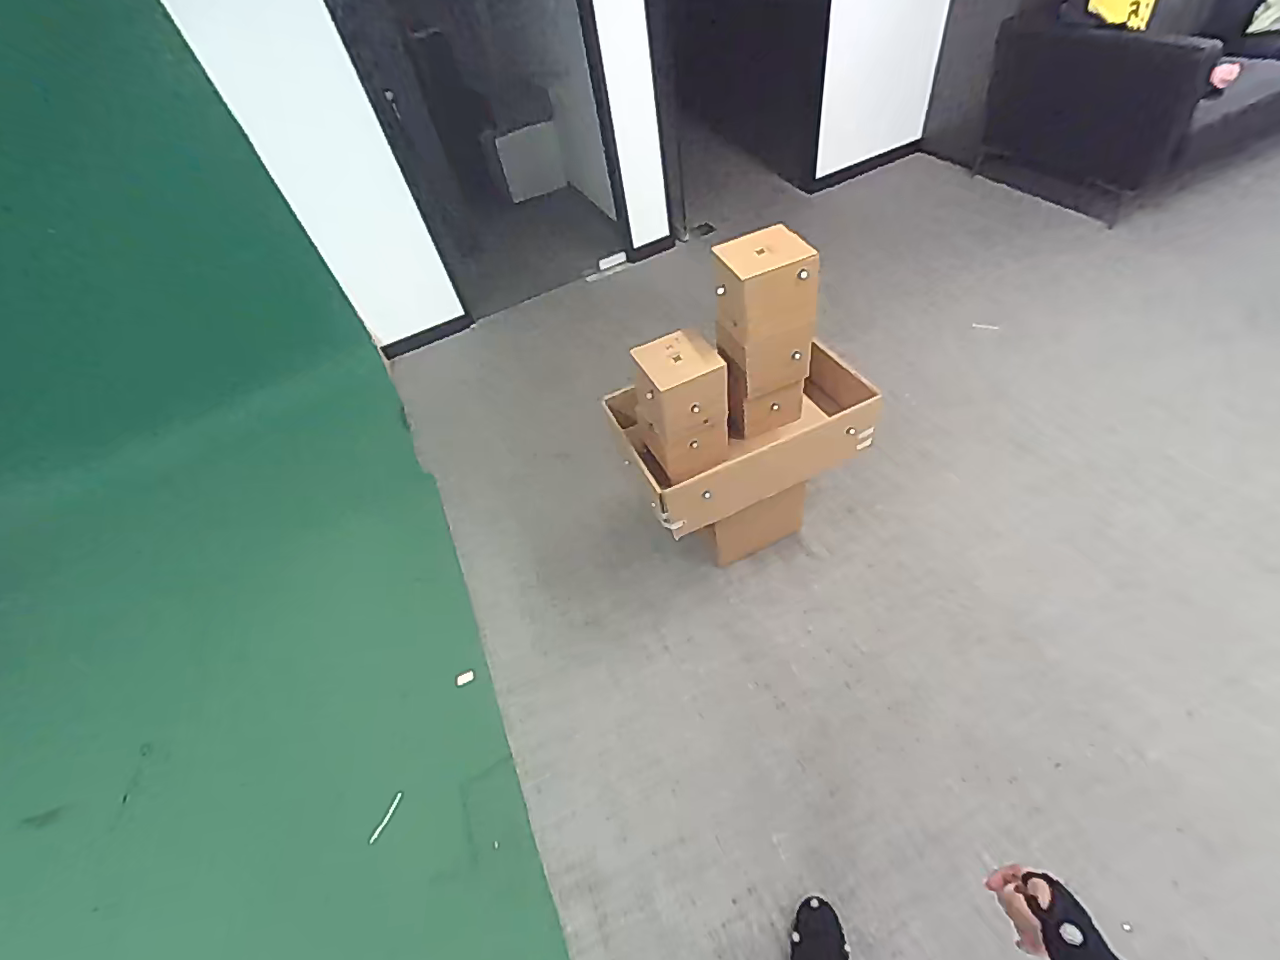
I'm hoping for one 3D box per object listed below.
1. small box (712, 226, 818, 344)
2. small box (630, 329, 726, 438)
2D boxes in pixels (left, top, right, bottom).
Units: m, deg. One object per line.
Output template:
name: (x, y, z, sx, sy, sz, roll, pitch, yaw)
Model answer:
small box: (0.278, -0.433, 1.210, 0.179, 0.176, 0.168, -21, 49, -4)
small box: (0.095, -0.220, 1.279, 0.168, 0.176, 0.179, -24, 50, -9)
